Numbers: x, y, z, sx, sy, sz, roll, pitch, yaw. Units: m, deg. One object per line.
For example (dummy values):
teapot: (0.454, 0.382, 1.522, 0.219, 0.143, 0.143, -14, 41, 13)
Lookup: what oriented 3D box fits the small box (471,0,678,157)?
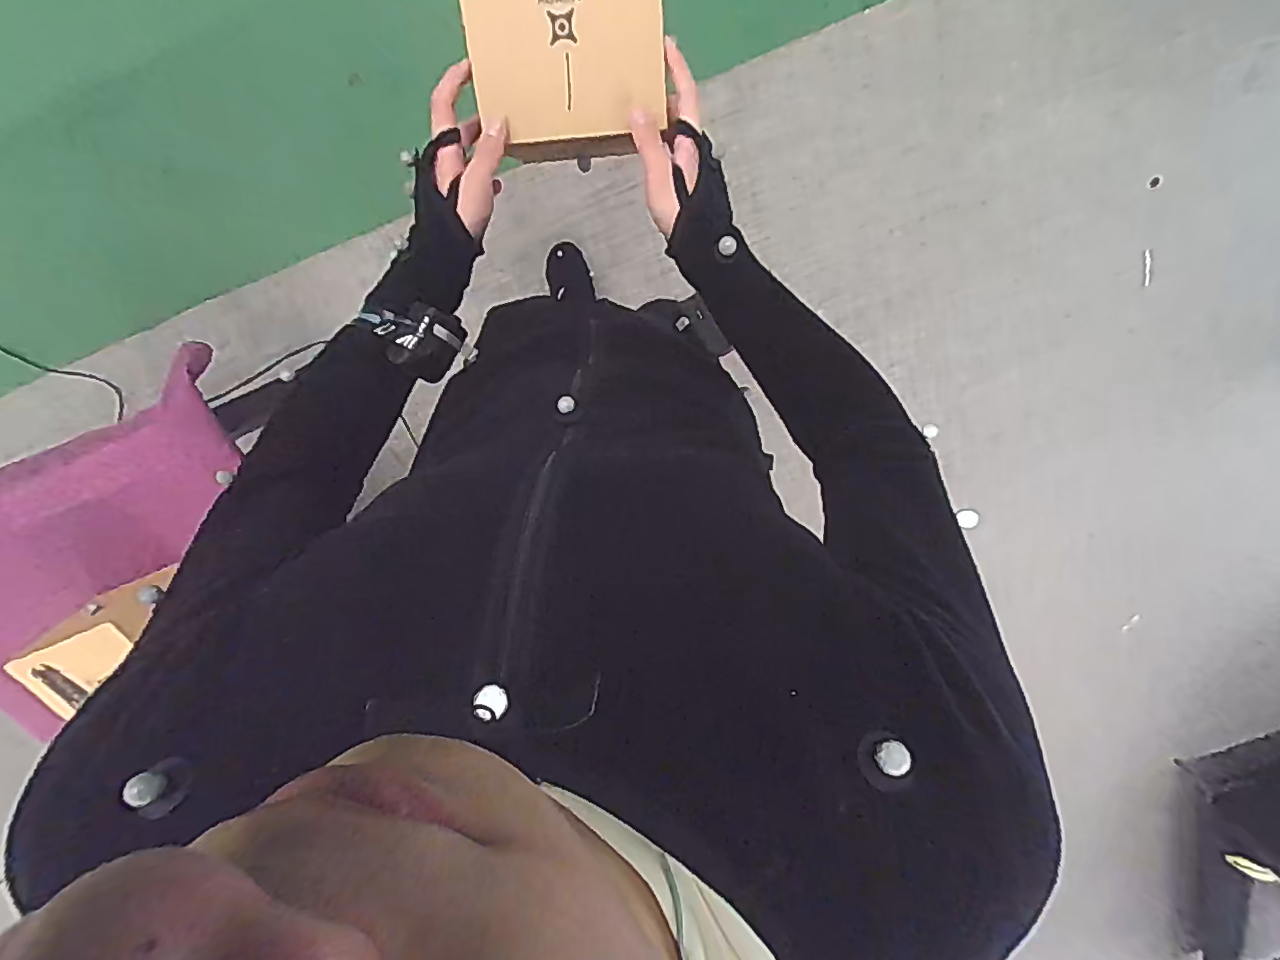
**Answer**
small box: (-0.054, -0.417, 0.505, 0.168, 0.176, 0.179, -4, 116, 2)
